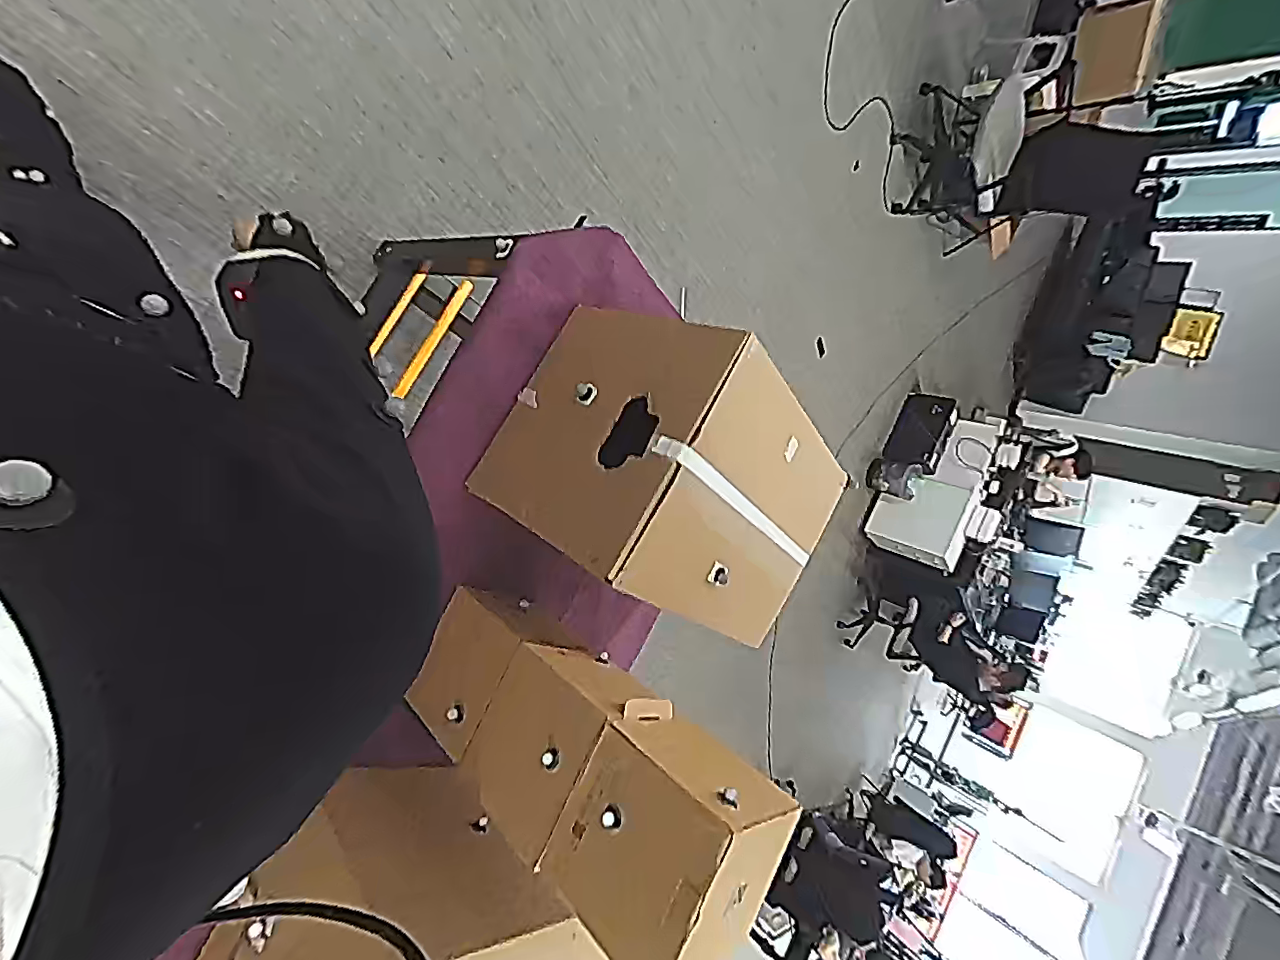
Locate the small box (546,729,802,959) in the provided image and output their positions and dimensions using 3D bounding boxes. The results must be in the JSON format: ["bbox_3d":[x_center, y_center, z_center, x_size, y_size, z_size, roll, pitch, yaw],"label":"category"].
[{"bbox_3d":[0.037,0.385,0.573,0.179,0.176,0.168,29,85,-49],"label":"small box"}]

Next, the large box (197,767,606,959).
[{"bbox_3d":[-0.290,0.620,0.718,0.408,0.320,0.320,37,79,-50],"label":"large box"}]
